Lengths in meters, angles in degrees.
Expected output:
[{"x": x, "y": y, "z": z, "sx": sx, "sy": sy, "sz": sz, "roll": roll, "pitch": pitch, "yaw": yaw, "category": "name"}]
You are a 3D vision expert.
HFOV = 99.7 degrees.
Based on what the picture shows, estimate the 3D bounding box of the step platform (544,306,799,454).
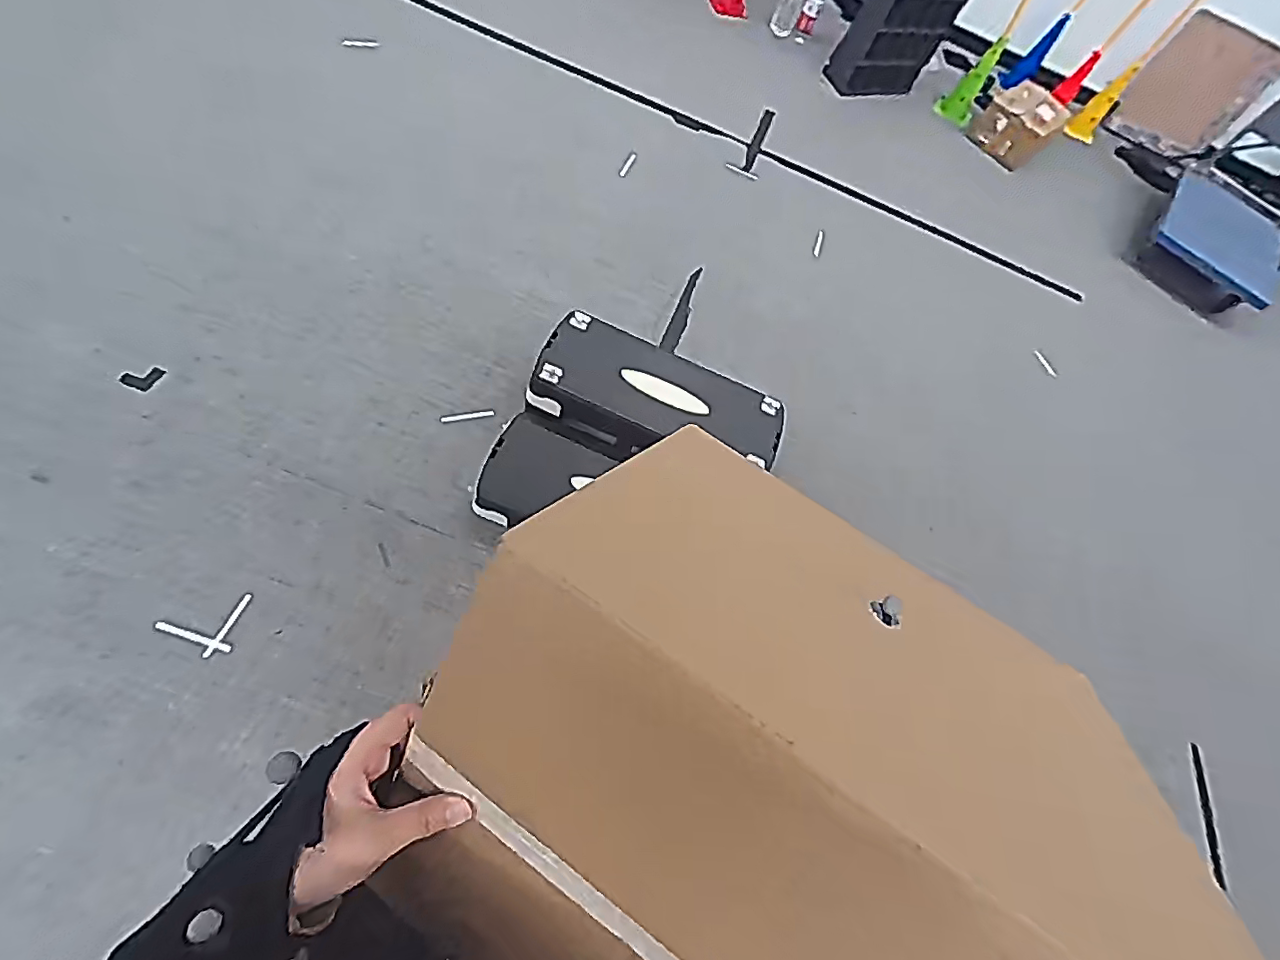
[{"x": 0.085, "y": -0.191, "z": 1.479, "sx": 0.684, "sy": 0.204, "sz": 0.286, "roll": 29, "pitch": 61, "yaw": -1, "category": "step platform"}]

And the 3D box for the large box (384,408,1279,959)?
[{"x": 0.104, "y": 0.188, "z": 0.406, "sx": 0.408, "sy": 0.320, "sz": 0.320, "roll": 33, "pitch": 26, "yaw": 10, "category": "large box"}]
